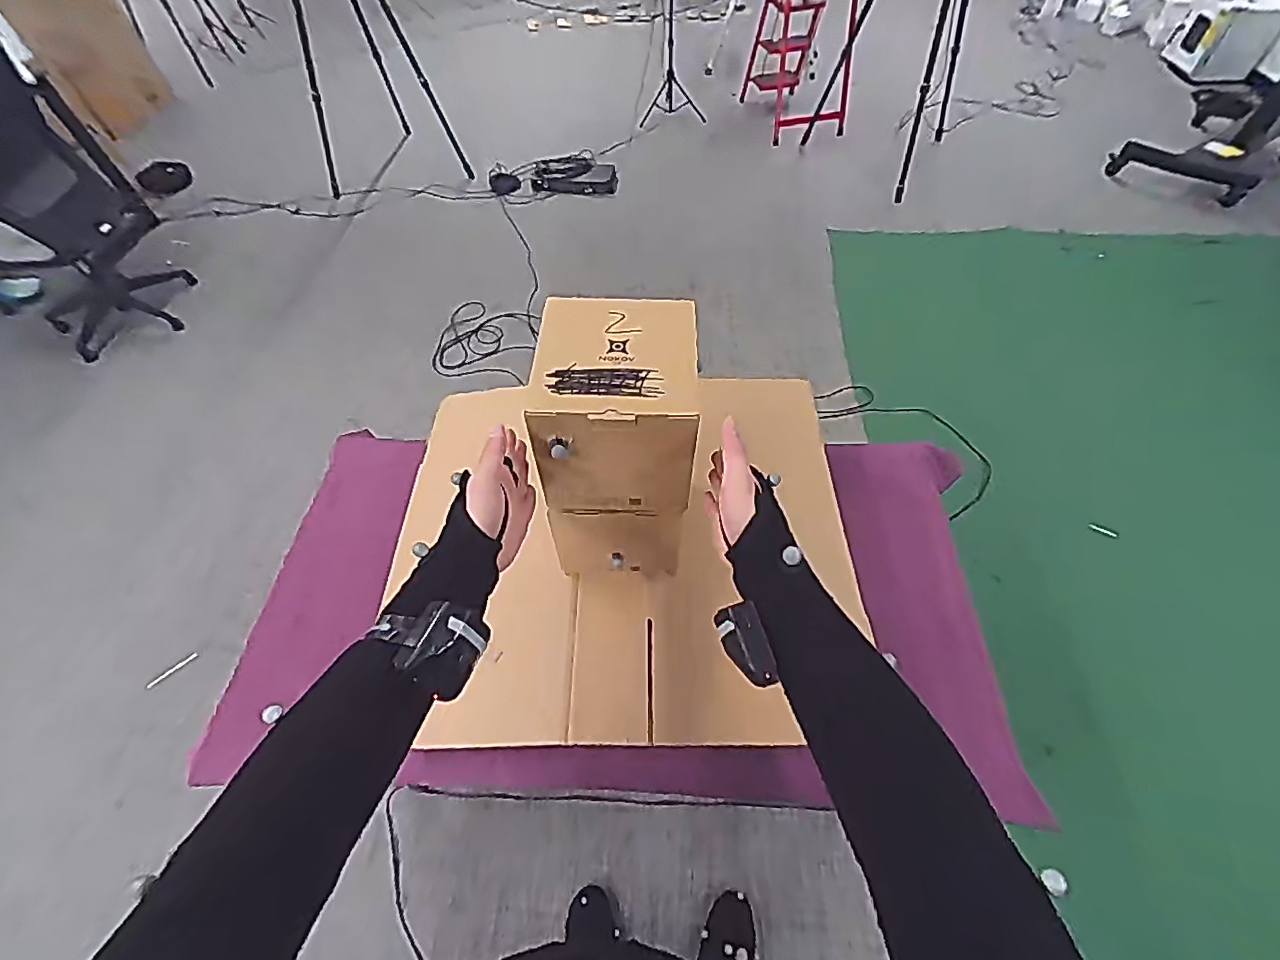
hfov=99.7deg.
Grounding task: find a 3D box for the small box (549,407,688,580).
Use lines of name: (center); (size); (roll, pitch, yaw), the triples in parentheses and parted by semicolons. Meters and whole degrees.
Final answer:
small box: (-0.024, 0.021, 0.744); (0.168, 0.176, 0.179); (1, 55, 1)
